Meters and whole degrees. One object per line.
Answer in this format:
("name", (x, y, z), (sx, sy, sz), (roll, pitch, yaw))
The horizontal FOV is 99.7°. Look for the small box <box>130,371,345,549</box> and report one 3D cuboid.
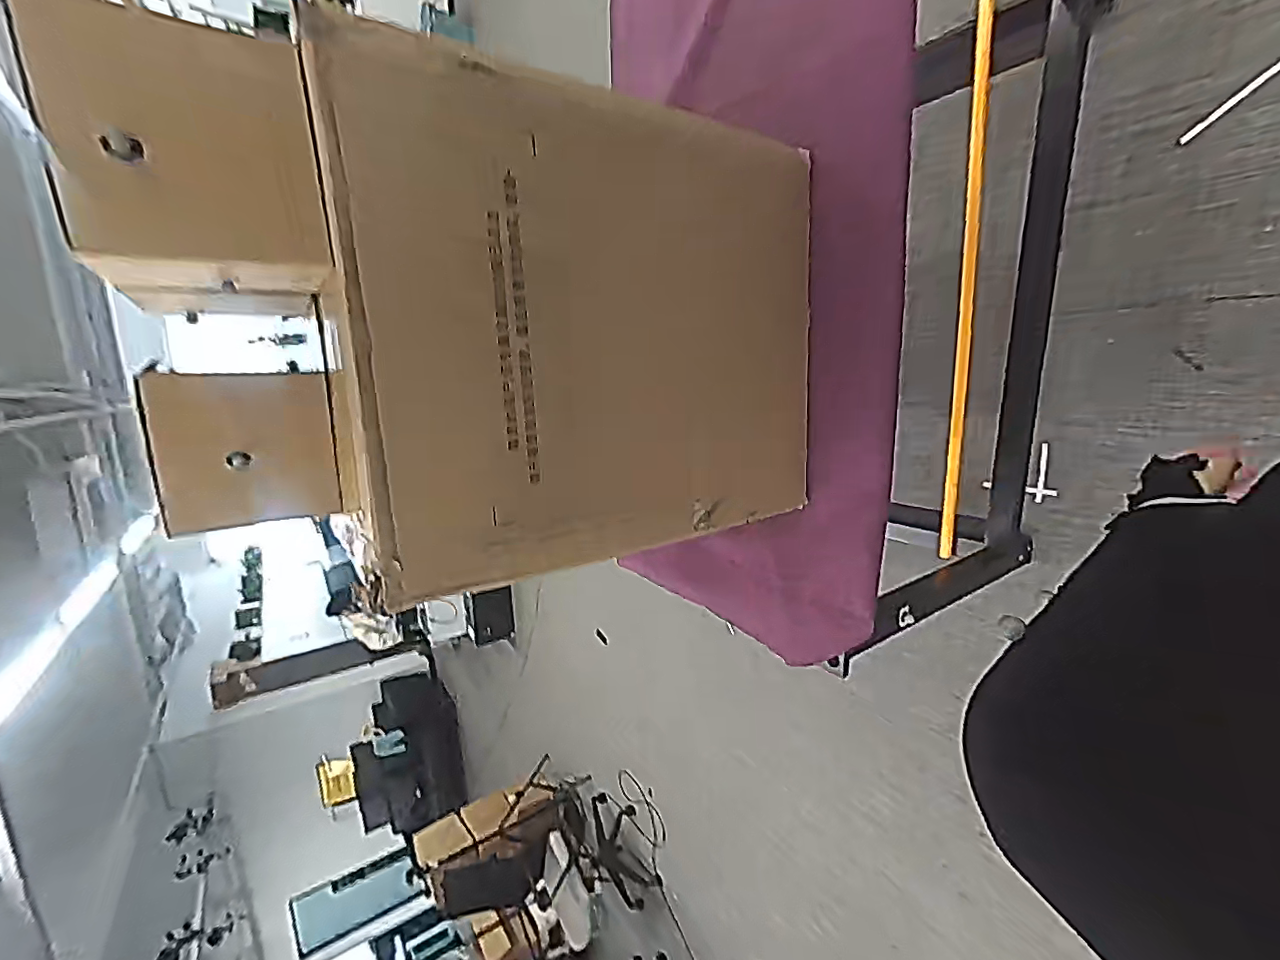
("small box", (-0.472, -0.039, 0.655), (0.168, 0.176, 0.179), (21, 117, 54))
